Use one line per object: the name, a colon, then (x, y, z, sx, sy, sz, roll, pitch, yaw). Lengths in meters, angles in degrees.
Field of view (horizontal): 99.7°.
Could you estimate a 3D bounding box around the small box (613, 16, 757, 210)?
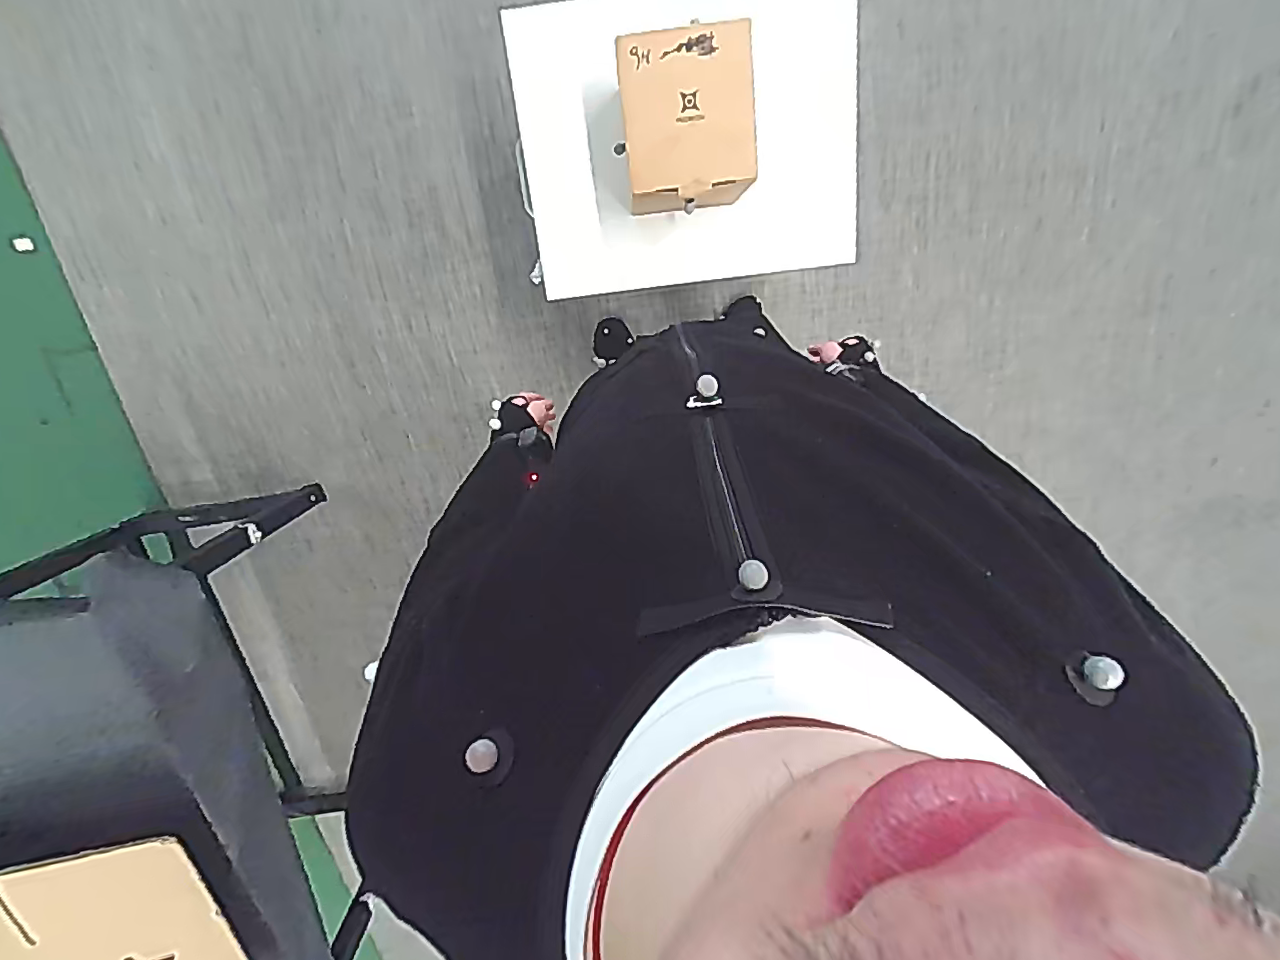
small box: (0.060, -0.486, 0.749, 0.168, 0.176, 0.179, -8, 107, 3)
